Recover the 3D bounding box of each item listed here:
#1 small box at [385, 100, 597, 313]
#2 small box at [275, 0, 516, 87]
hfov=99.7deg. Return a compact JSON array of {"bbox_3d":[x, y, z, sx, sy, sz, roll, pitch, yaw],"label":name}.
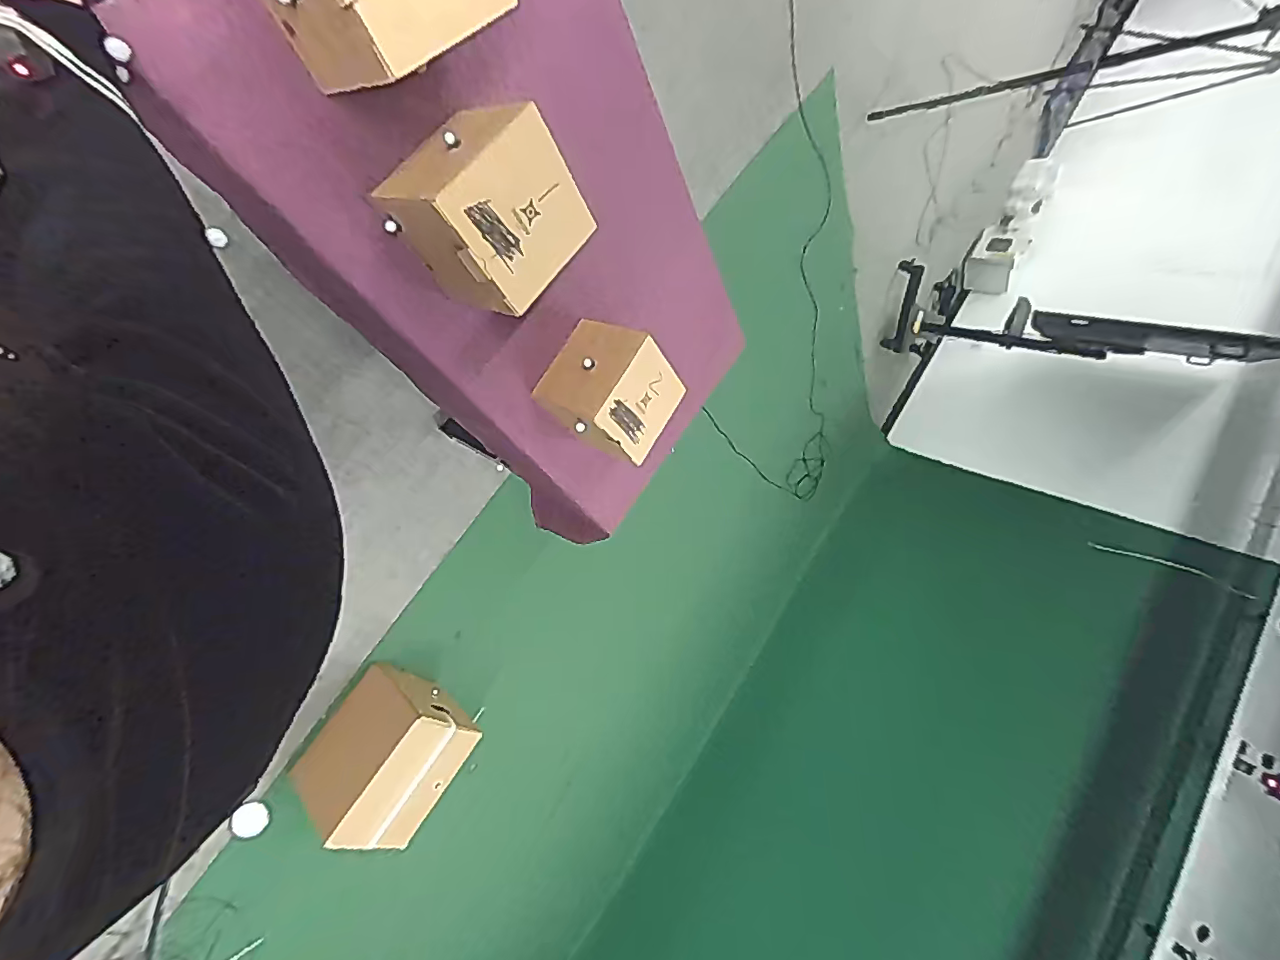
[{"bbox_3d":[-0.194,-0.346,0.695,0.179,0.176,0.168,-55,142,-14],"label":"small box"},{"bbox_3d":[-0.262,-0.511,0.520,0.179,0.176,0.168,-49,141,-19],"label":"small box"}]
